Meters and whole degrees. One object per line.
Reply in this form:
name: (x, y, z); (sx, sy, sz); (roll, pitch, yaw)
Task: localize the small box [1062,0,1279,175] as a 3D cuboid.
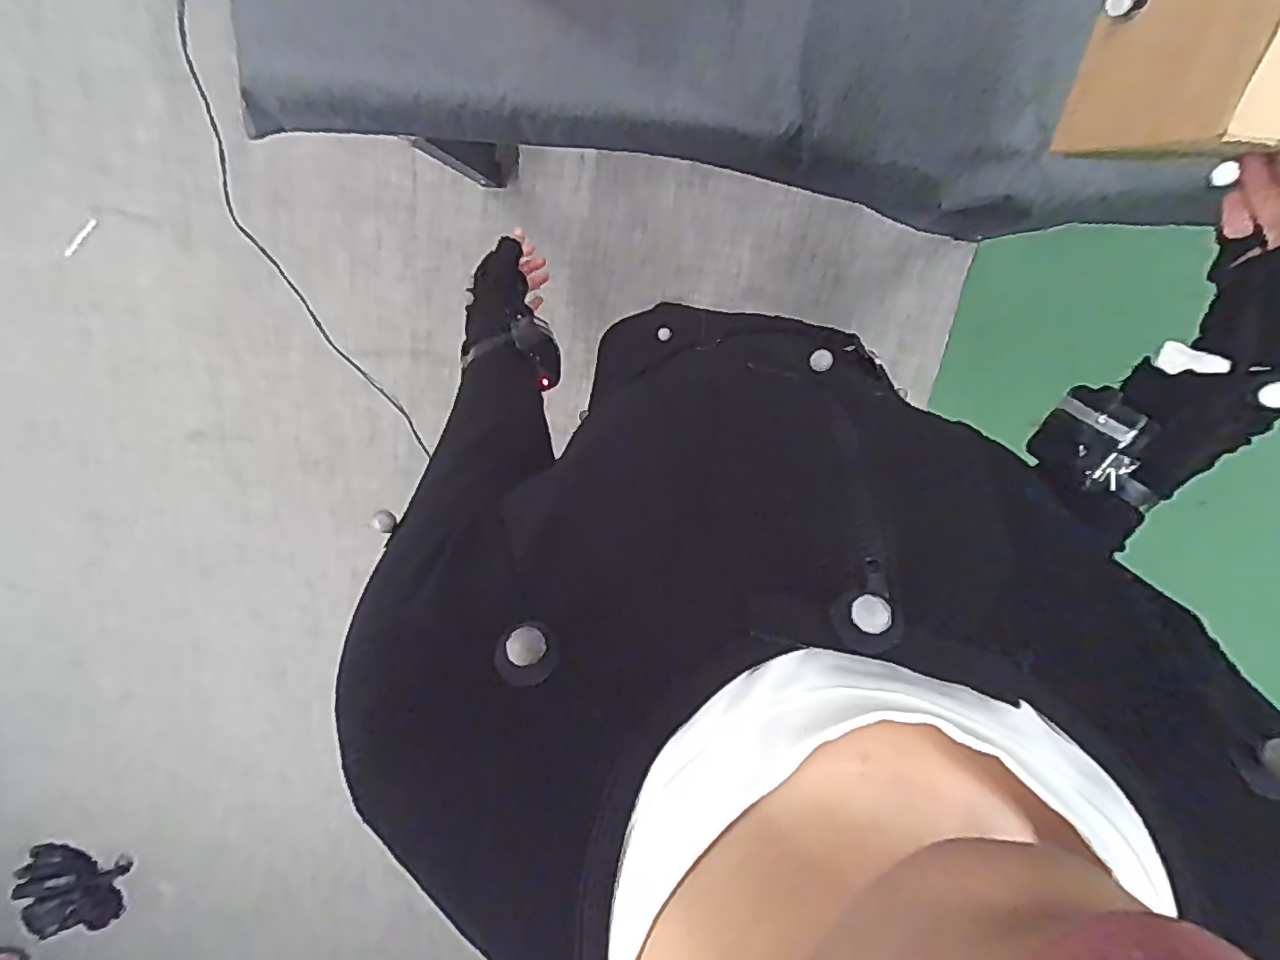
small box: (0.407, -0.287, 0.323); (0.168, 0.176, 0.179); (6, 119, 2)
